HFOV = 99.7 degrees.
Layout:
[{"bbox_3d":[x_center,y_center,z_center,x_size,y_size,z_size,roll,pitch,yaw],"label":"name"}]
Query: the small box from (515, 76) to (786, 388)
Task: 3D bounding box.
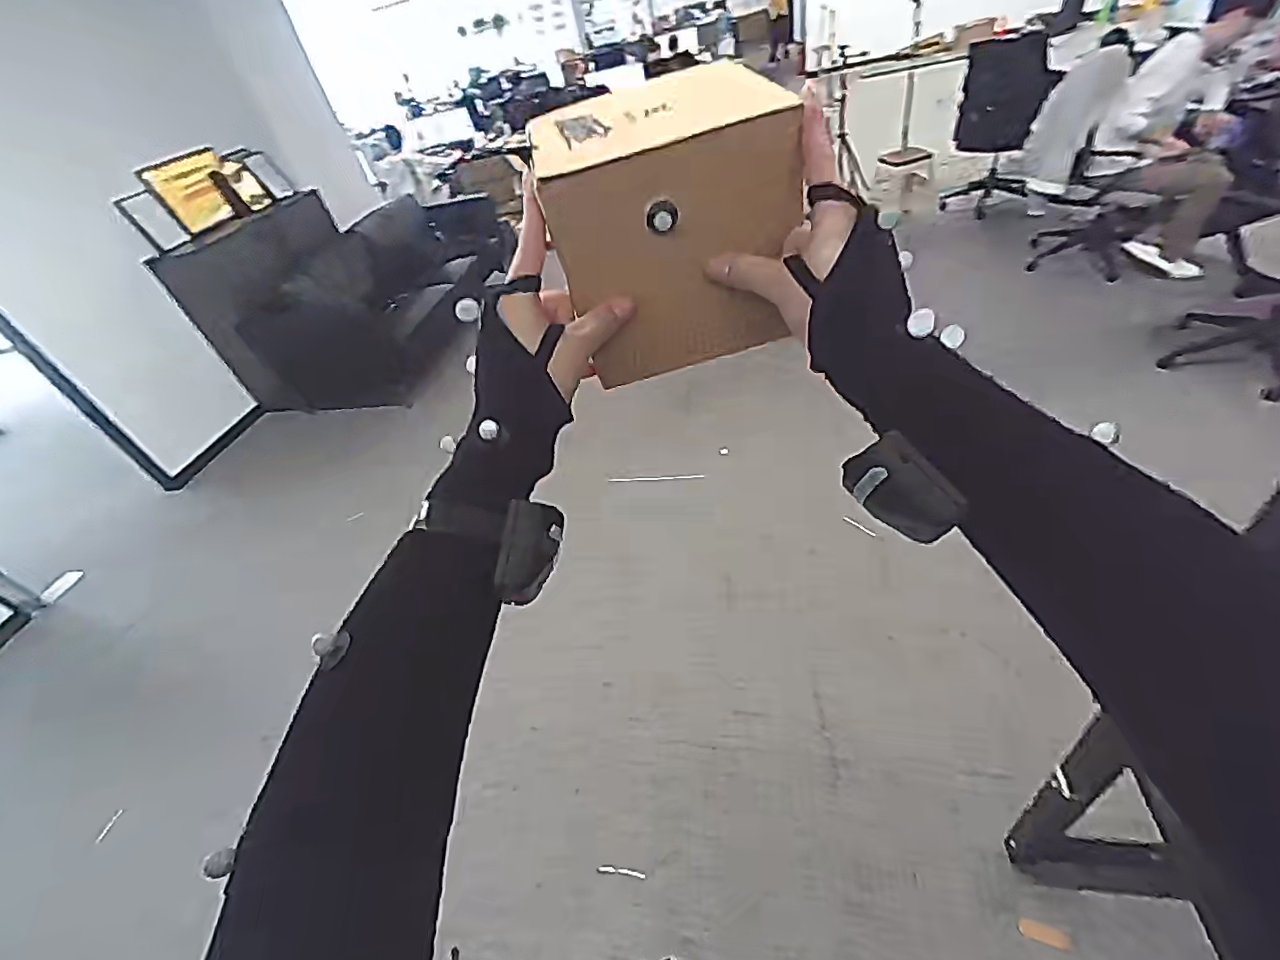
[{"bbox_3d":[0.010,-0.201,0.451,0.179,0.176,0.168,-17,45,2],"label":"small box"}]
